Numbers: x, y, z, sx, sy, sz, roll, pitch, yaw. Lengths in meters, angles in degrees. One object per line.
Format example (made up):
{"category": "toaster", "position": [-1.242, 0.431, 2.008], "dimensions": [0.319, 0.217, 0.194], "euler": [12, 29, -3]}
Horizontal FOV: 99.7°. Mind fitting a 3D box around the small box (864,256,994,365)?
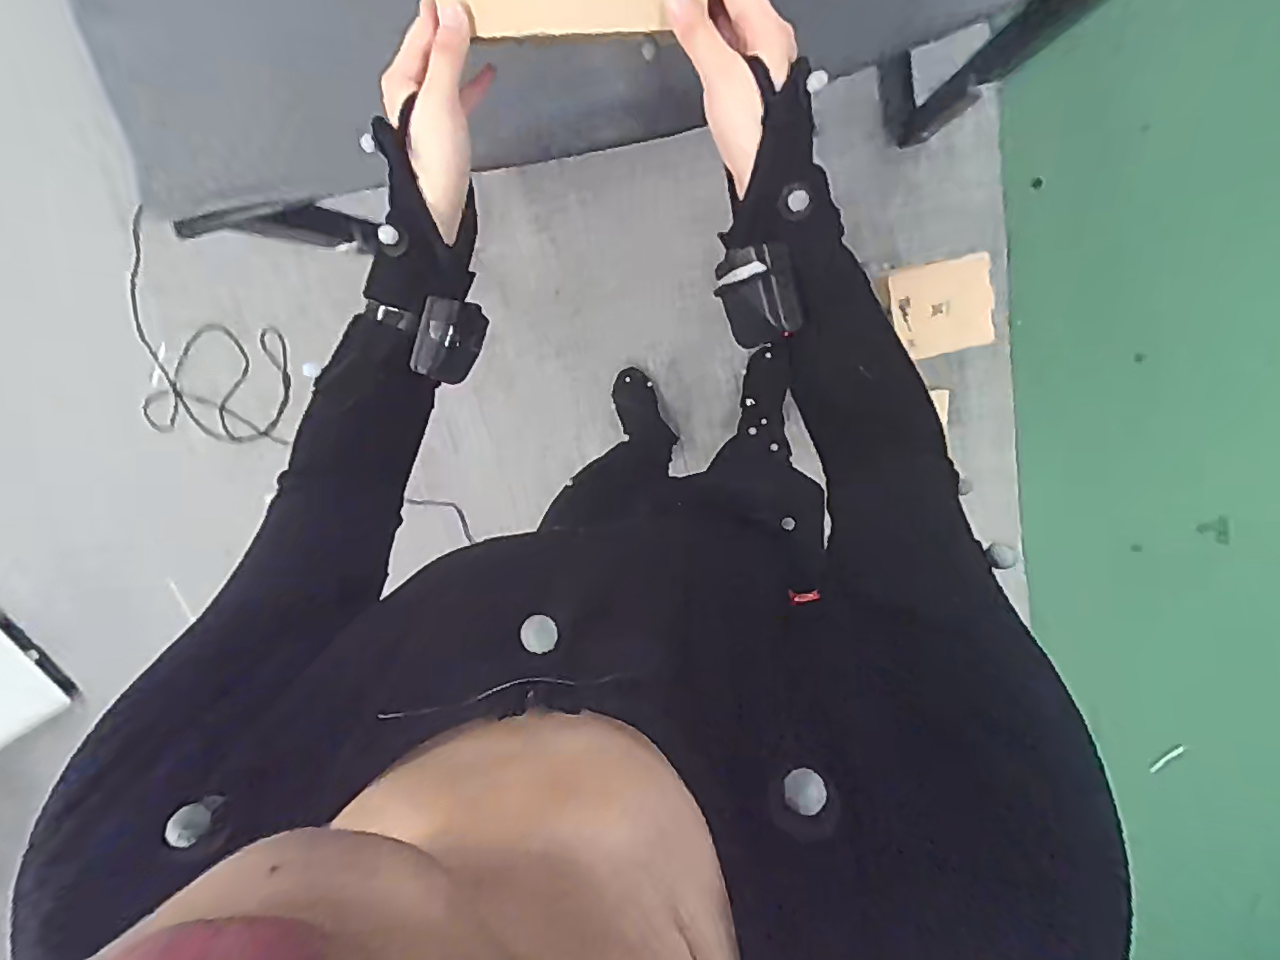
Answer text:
{"category": "small box", "position": [0.562, -0.334, 1.065], "dimensions": [0.179, 0.176, 0.168], "euler": [-11, 106, 9]}
